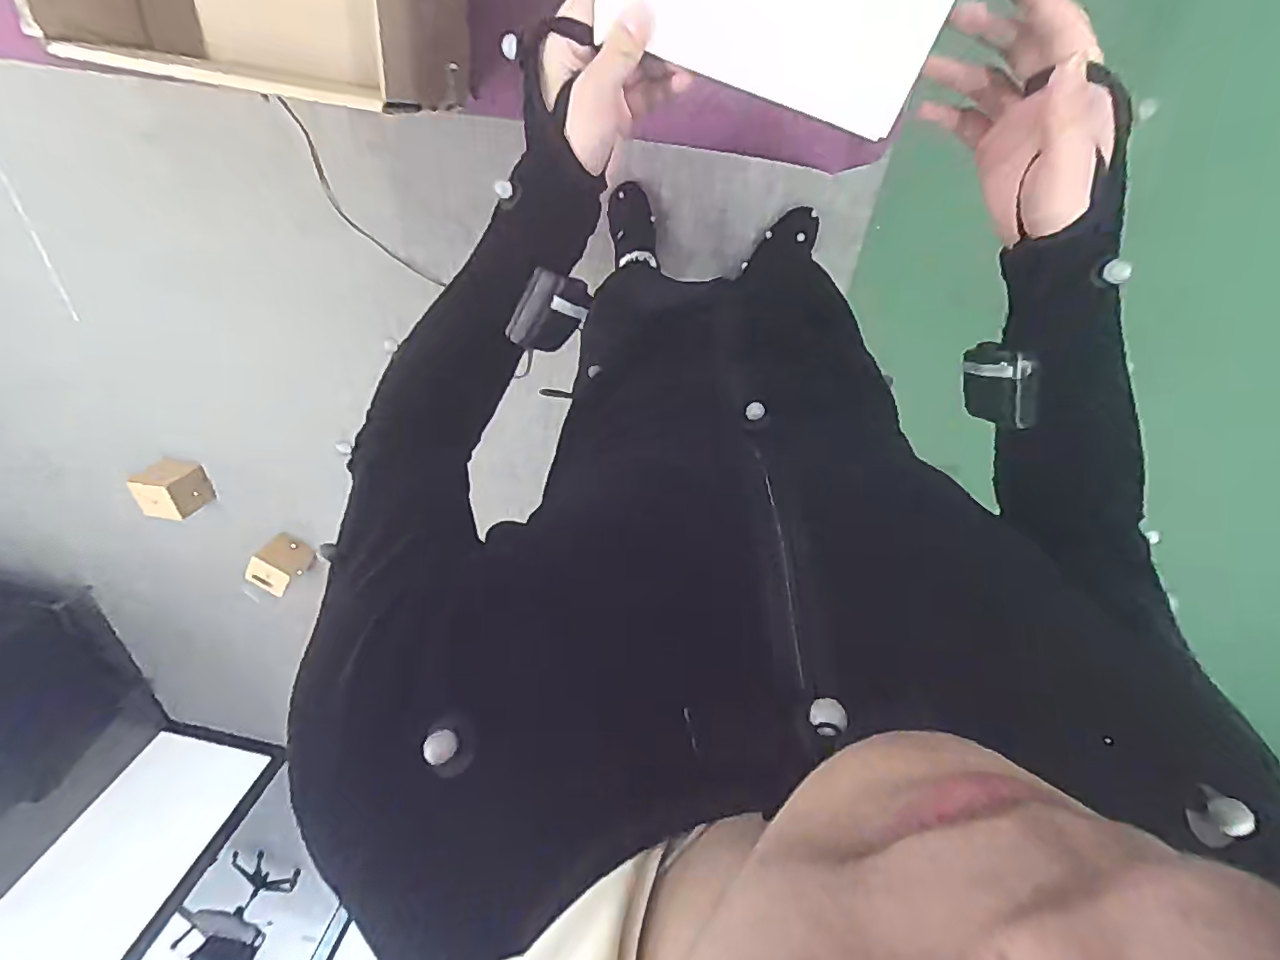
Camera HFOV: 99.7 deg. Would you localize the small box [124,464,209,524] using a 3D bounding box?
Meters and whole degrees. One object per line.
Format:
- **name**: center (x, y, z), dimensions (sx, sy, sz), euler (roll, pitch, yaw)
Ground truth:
- **small box**: center (-1.877, 0.052, 2.161), dimensions (0.179, 0.176, 0.168), euler (8, 123, 7)
